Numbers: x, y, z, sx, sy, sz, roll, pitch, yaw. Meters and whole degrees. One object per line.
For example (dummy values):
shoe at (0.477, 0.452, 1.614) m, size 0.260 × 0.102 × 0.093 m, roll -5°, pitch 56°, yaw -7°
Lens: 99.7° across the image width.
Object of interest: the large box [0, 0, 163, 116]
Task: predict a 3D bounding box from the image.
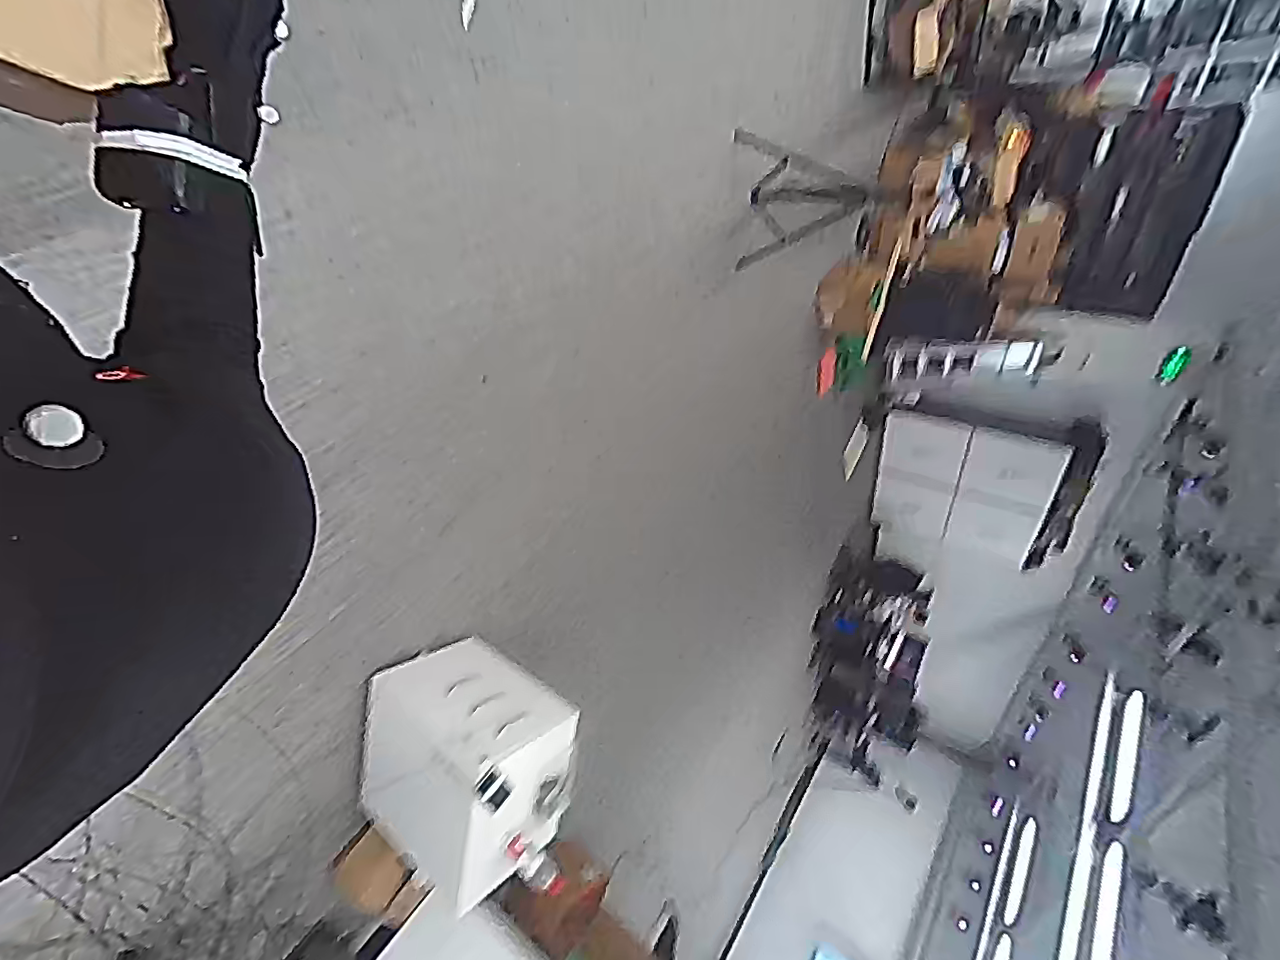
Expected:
large box at (-0.535, -0.429, 0.254) m, size 0.408 × 0.320 × 0.320 m, roll -9°, pitch 118°, yaw -56°
